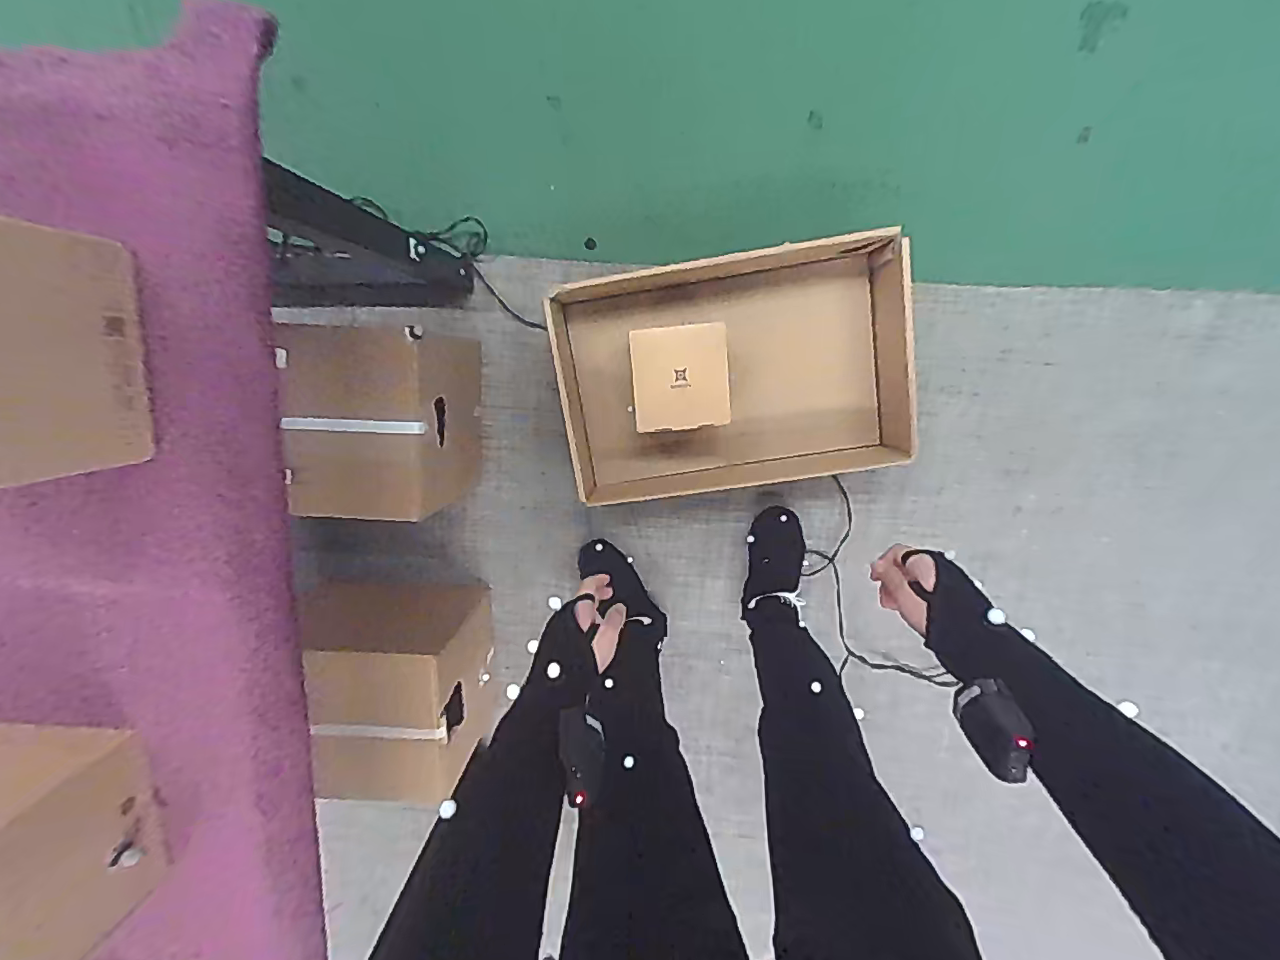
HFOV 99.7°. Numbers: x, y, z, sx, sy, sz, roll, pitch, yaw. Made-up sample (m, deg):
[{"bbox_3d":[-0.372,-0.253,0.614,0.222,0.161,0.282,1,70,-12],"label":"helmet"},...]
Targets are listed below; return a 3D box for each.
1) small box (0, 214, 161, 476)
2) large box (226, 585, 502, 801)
[{"bbox_3d":[-0.473,-0.090,0.351,0.179,0.176,0.168,6,103,4],"label":"small box"},{"bbox_3d":[-0.539,0.421,1.137,0.408,0.320,0.320,1,101,4],"label":"large box"}]
